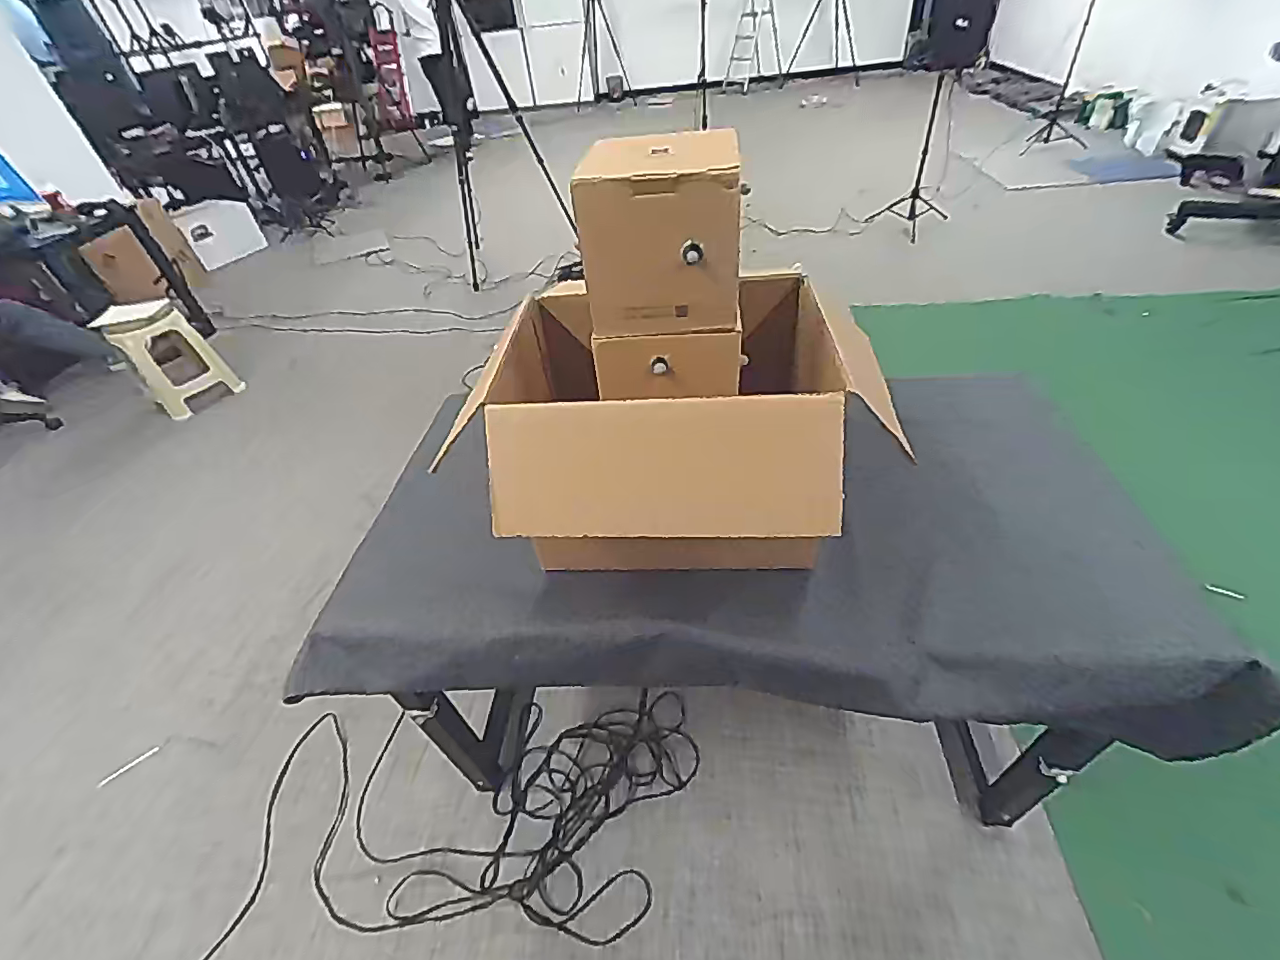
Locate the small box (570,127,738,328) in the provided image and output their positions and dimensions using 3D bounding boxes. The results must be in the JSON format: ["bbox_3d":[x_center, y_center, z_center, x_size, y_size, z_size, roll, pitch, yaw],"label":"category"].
[{"bbox_3d":[0.028,-0.285,0.622,0.168,0.176,0.179,0,42,7],"label":"small box"}]

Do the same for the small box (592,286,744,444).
[{"bbox_3d":[0.042,-0.161,0.726,0.179,0.176,0.168,-1,43,7],"label":"small box"}]
